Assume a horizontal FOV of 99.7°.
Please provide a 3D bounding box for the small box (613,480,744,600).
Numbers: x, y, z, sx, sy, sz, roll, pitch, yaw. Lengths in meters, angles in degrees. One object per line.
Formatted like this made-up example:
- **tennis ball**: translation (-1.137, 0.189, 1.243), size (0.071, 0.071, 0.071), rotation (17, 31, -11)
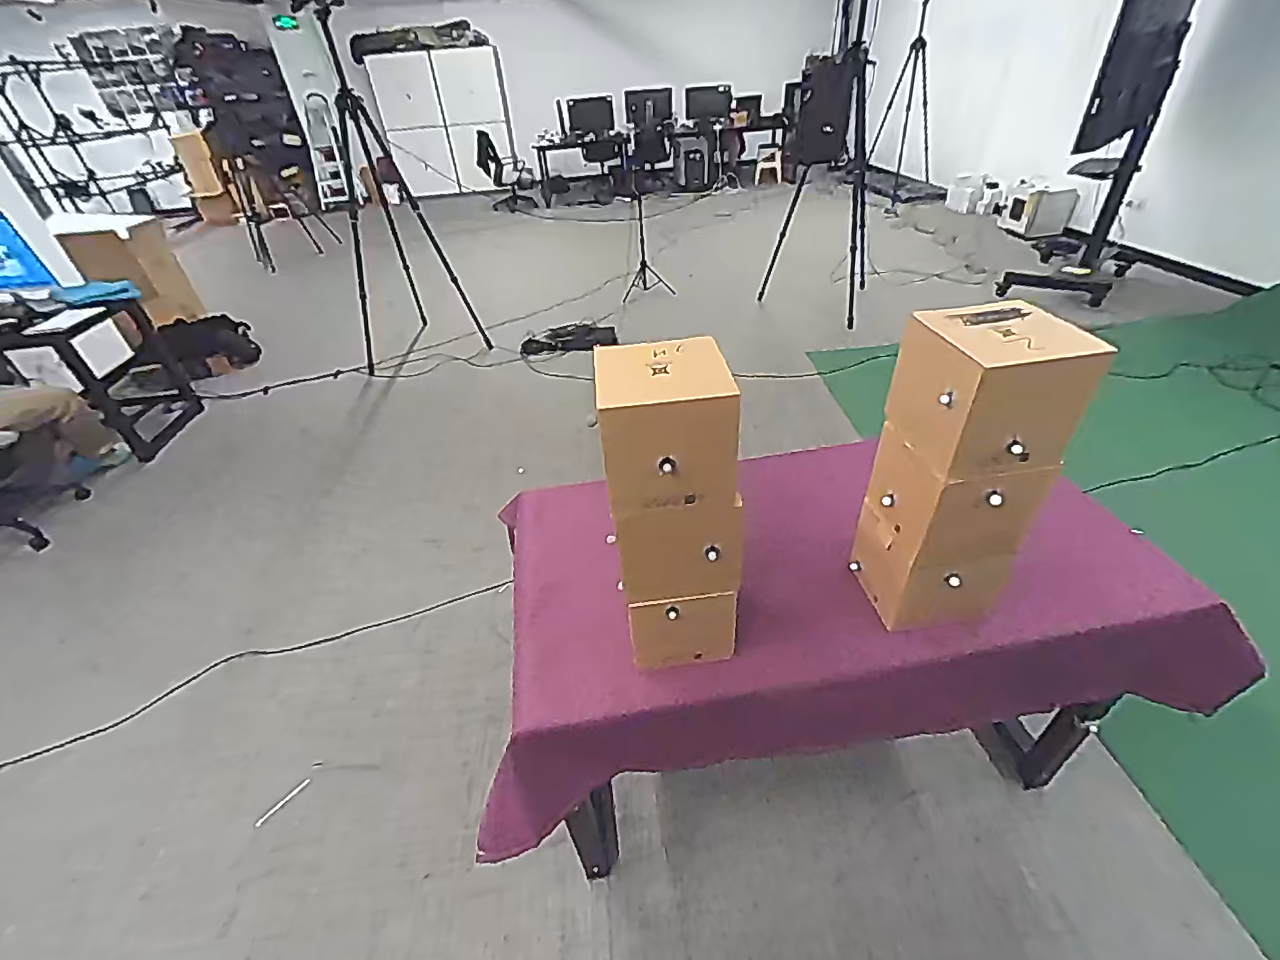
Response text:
- **small box**: translation (0.052, 0.060, 0.819), size (0.179, 0.176, 0.168), rotation (-7, 37, -1)

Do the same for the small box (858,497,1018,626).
- **small box**: translation (0.496, 0.134, 0.937), size (0.179, 0.176, 0.168), rotation (-7, 38, -3)

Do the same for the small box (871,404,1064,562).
- **small box**: translation (0.487, 0.005, 0.837), size (0.179, 0.176, 0.168), rotation (-9, 38, -3)

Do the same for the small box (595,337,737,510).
- **small box**: translation (0.032, -0.072, 0.723), size (0.168, 0.176, 0.179), rotation (-6, 37, -1)

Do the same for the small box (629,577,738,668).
- **small box**: translation (0.064, 0.190, 0.918), size (0.168, 0.176, 0.179), rotation (-8, 37, -2)
